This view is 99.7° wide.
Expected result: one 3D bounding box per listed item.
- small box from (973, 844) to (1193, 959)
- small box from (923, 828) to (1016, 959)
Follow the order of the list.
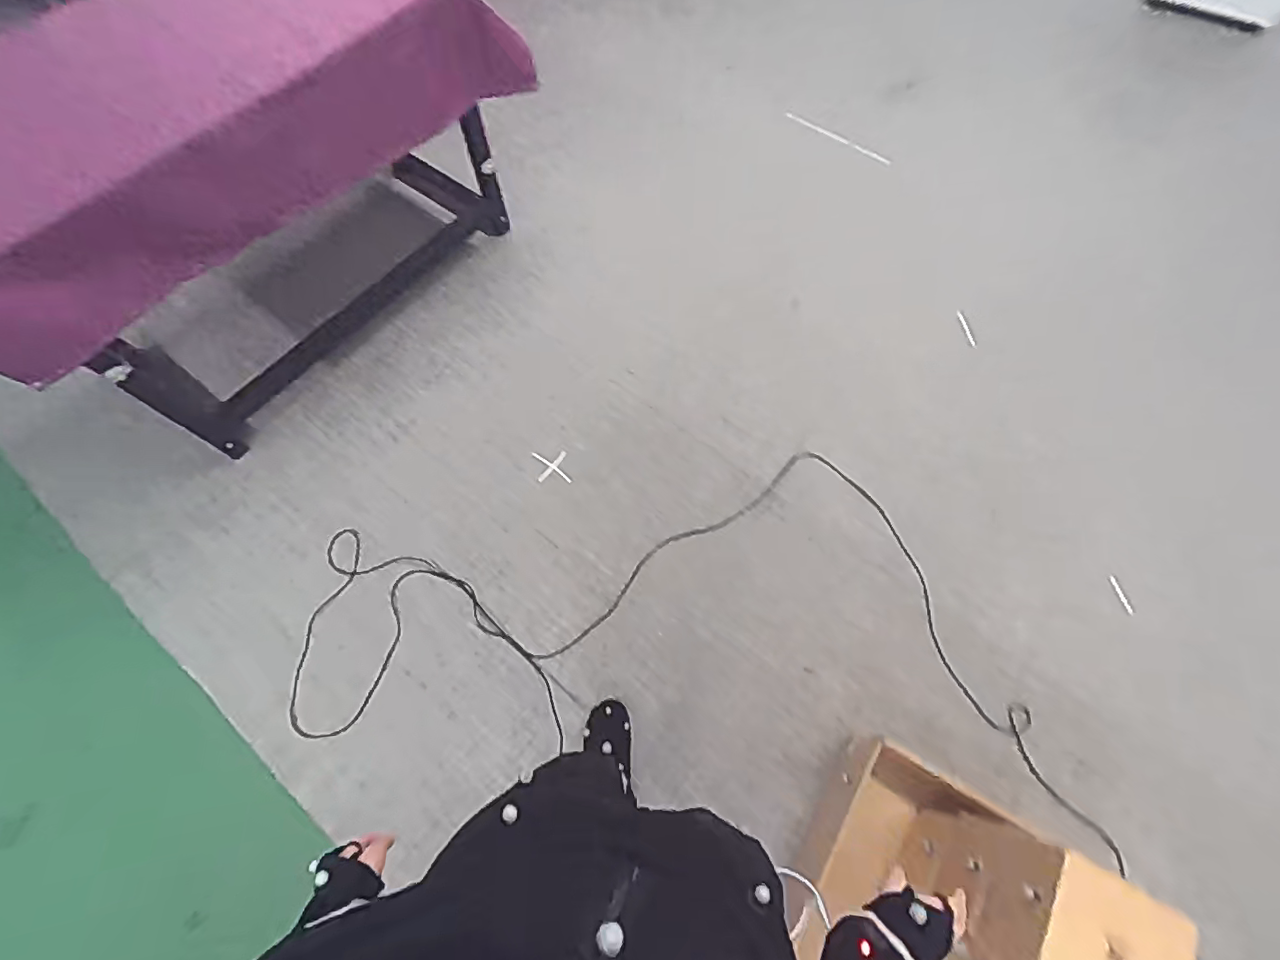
[{"bbox_3d":[0.613,0.664,0.770,0.168,0.176,0.179,28,68,15],"label":"small box"},{"bbox_3d":[0.617,0.732,0.918,0.168,0.176,0.179,34,71,16],"label":"small box"}]
